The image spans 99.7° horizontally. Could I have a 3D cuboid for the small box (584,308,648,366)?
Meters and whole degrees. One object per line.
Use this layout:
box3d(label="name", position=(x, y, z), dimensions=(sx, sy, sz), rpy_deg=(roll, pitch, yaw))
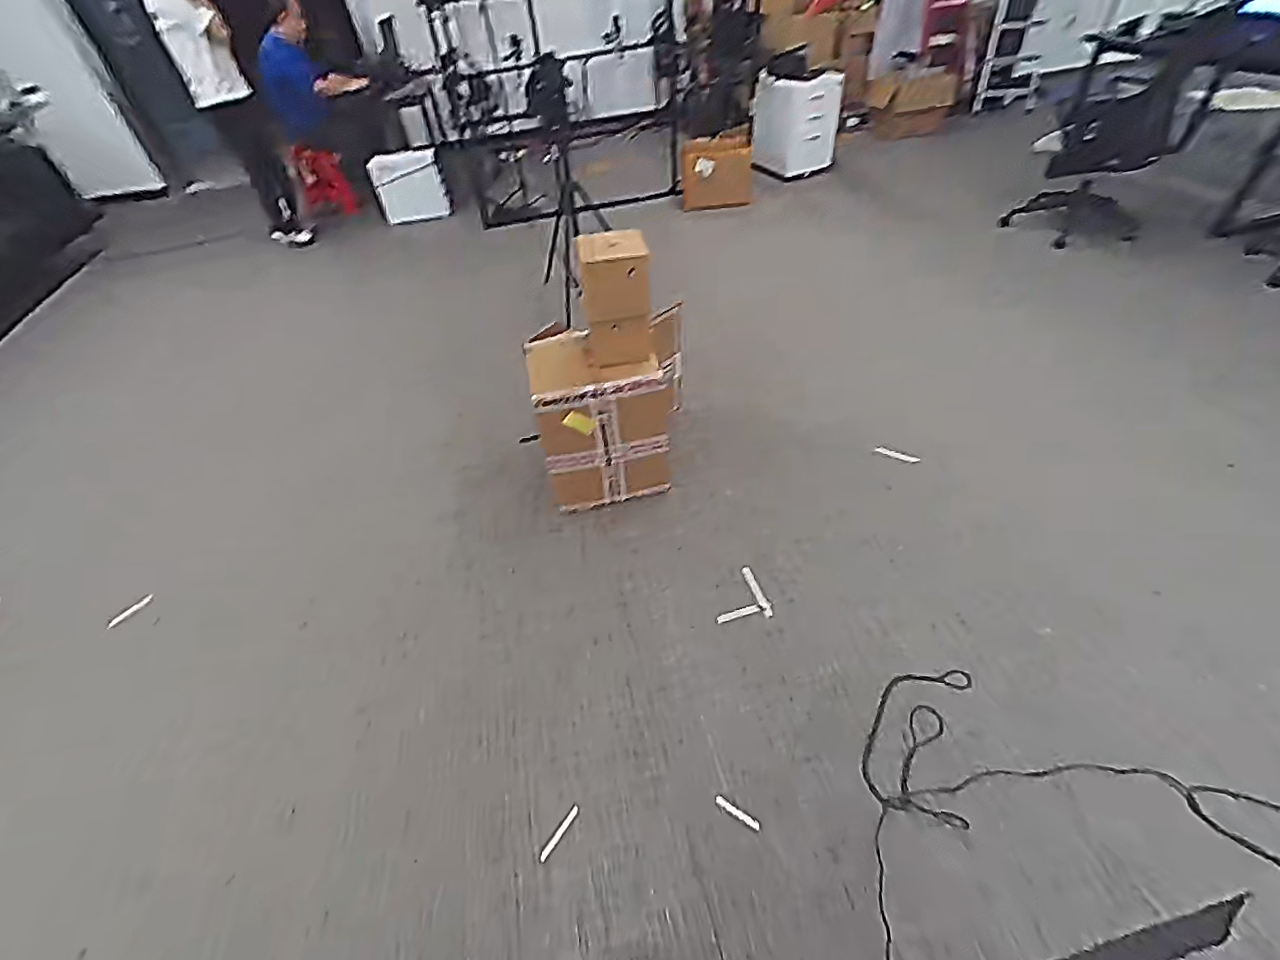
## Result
box3d(label="small box", position=(-0.075, -0.456, 1.617), dimensions=(0.179, 0.176, 0.168), rpy_deg=(-8, 47, -4))

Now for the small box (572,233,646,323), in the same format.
box3d(label="small box", position=(-0.083, -0.551, 1.480), dimensions=(0.179, 0.176, 0.168), rpy_deg=(-10, 46, -6))
